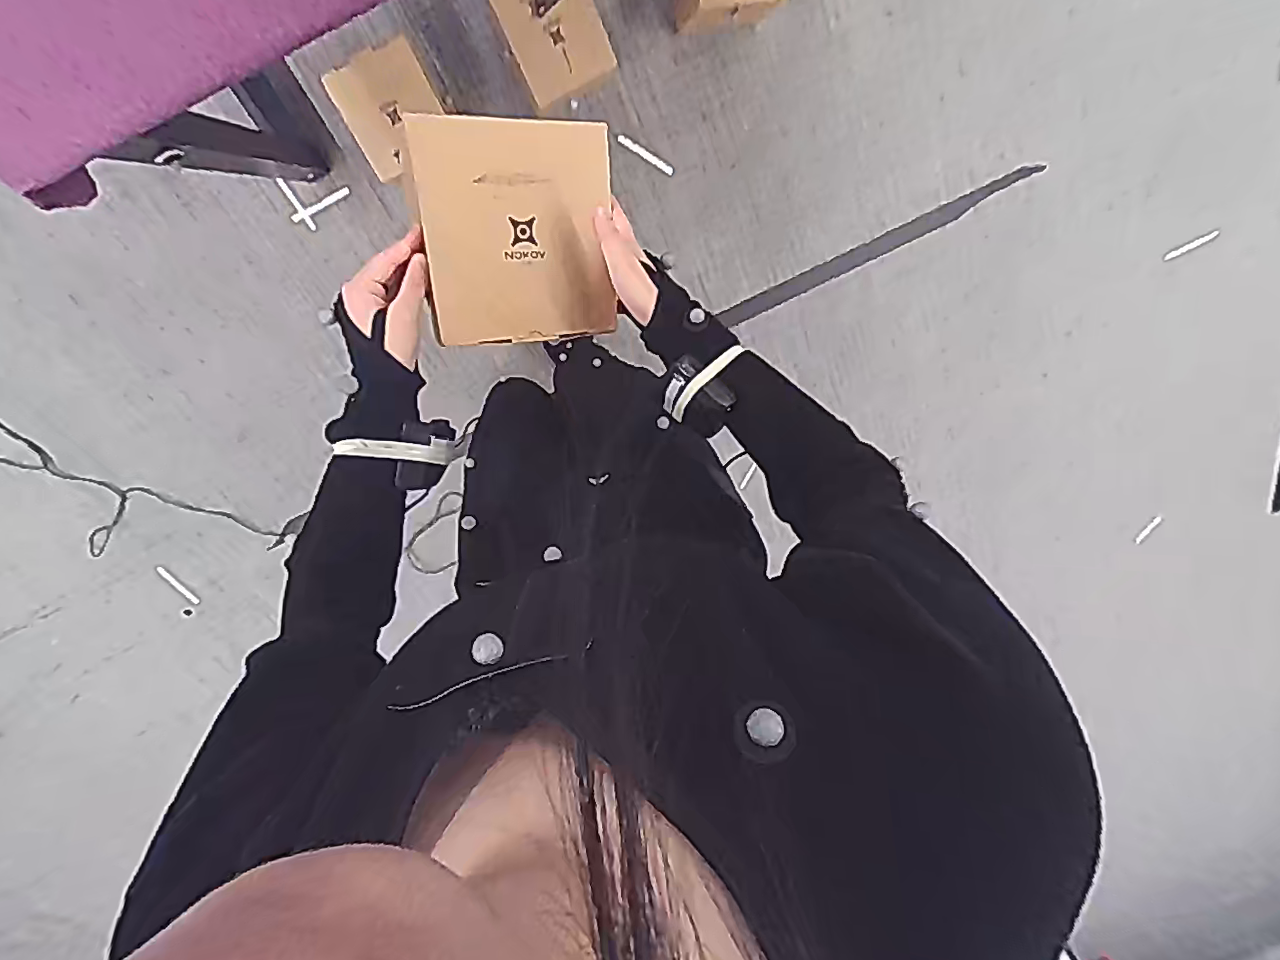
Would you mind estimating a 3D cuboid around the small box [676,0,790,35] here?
[{"bbox_3d":[0.167,-0.959,1.004,0.179,0.176,0.168,-11,118,-4],"label":"small box"}]

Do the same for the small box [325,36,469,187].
[{"bbox_3d":[-0.448,-0.684,1.027,0.168,0.176,0.179,-24,116,2],"label":"small box"}]

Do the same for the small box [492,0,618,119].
[{"bbox_3d":[-0.160,-0.816,1.013,0.168,0.176,0.179,-26,119,4],"label":"small box"}]
